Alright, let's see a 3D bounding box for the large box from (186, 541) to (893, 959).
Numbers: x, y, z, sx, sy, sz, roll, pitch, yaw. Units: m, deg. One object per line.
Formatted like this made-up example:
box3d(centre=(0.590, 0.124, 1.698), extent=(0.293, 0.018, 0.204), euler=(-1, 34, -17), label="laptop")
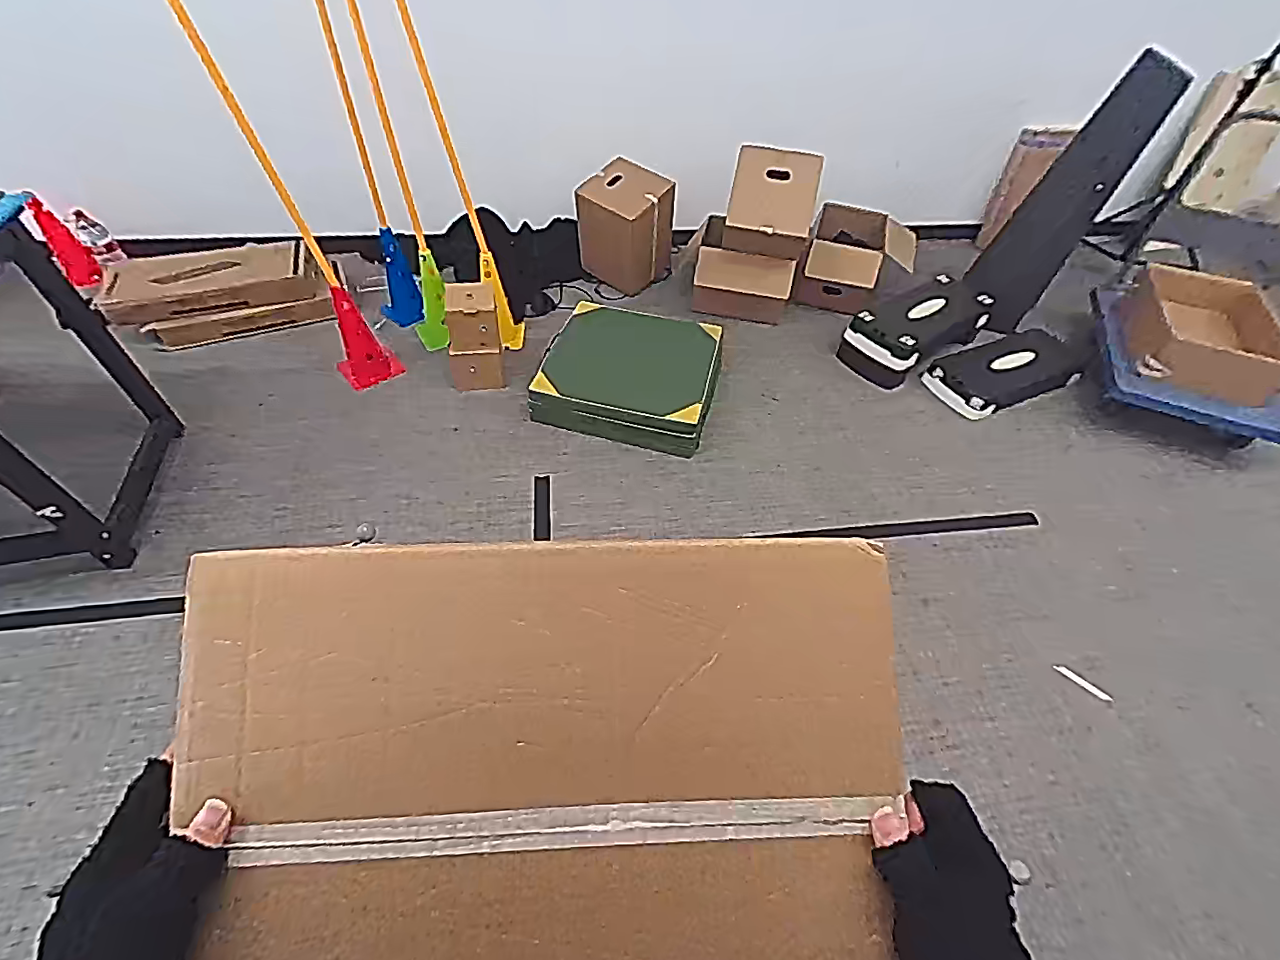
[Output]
box3d(centre=(-0.060, 0.217, 0.462), extent=(0.408, 0.320, 0.320), euler=(-1, 84, -2), label="large box")
